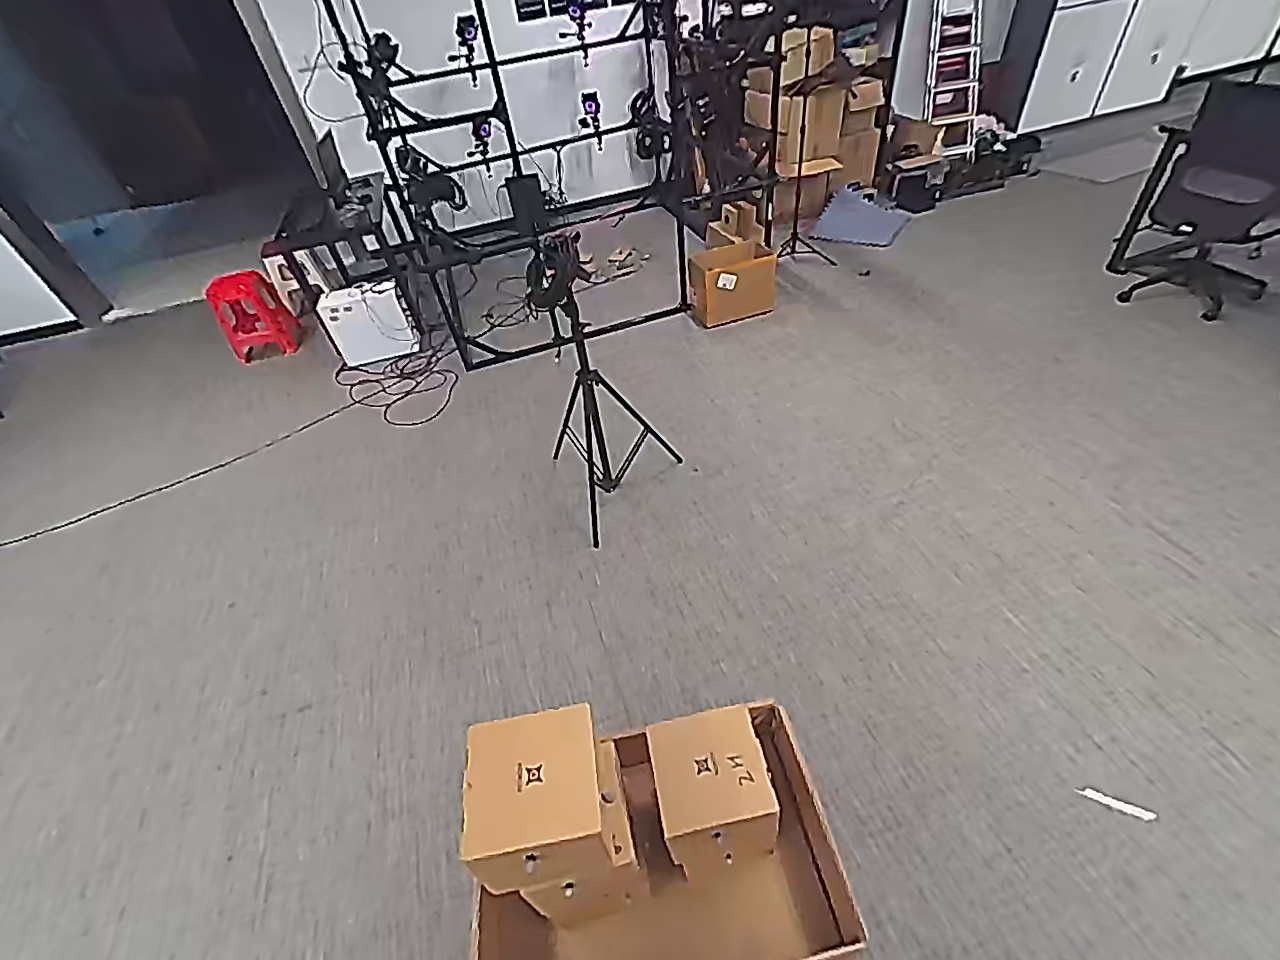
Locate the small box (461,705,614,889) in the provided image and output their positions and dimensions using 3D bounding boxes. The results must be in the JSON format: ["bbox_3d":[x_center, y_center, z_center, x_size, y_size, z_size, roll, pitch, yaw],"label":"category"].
[{"bbox_3d":[-0.134,0.445,0.759,0.179,0.176,0.168,-10,43,-4],"label":"small box"}]
